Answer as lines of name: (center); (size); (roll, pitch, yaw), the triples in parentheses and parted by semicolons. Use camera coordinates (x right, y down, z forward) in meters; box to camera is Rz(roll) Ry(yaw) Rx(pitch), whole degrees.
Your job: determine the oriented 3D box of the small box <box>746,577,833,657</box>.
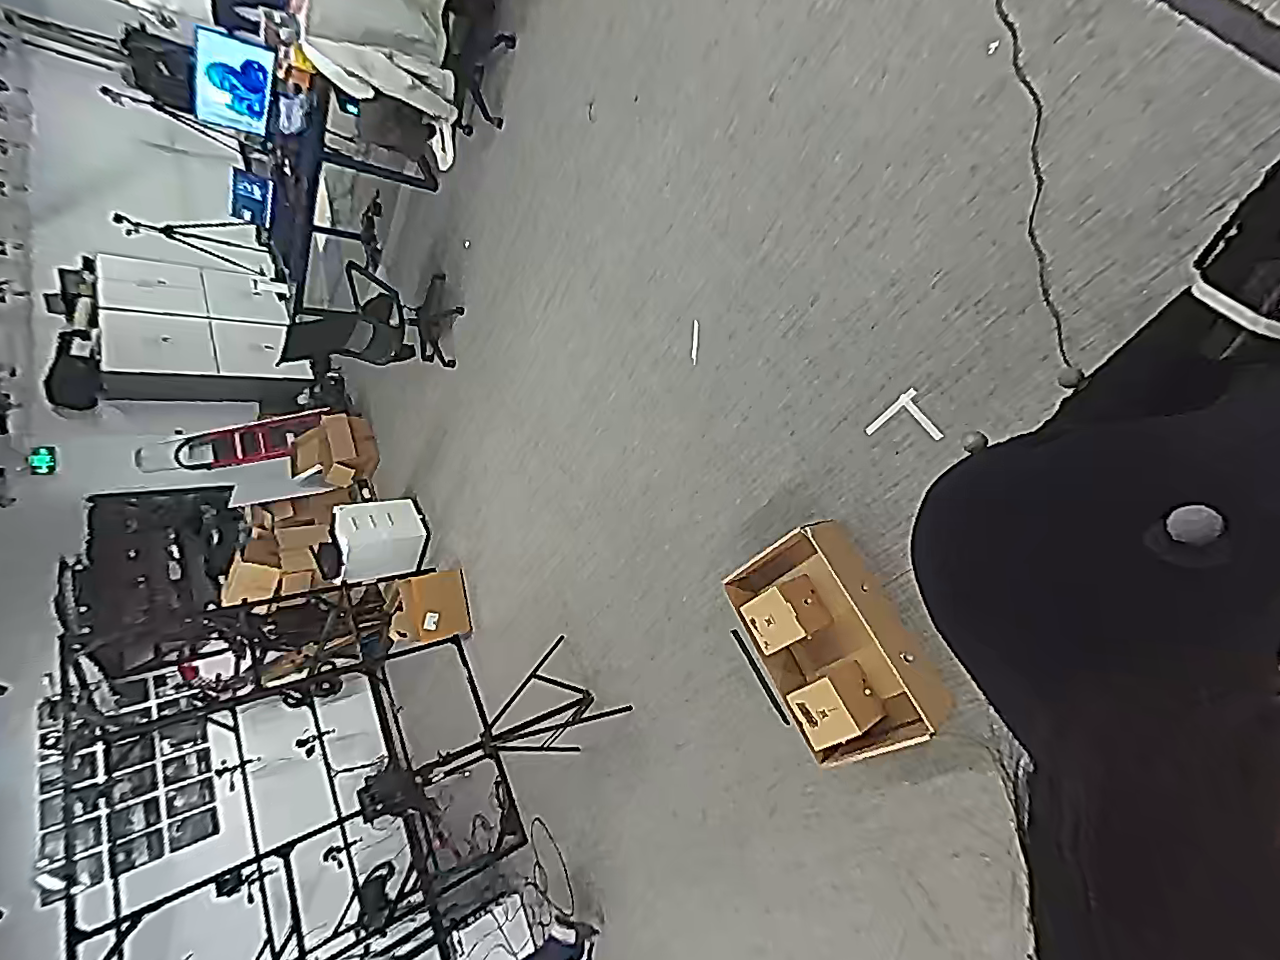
small box: (0.471, 0.419, 1.673); (0.179, 0.176, 0.168); (-46, 64, 40)
